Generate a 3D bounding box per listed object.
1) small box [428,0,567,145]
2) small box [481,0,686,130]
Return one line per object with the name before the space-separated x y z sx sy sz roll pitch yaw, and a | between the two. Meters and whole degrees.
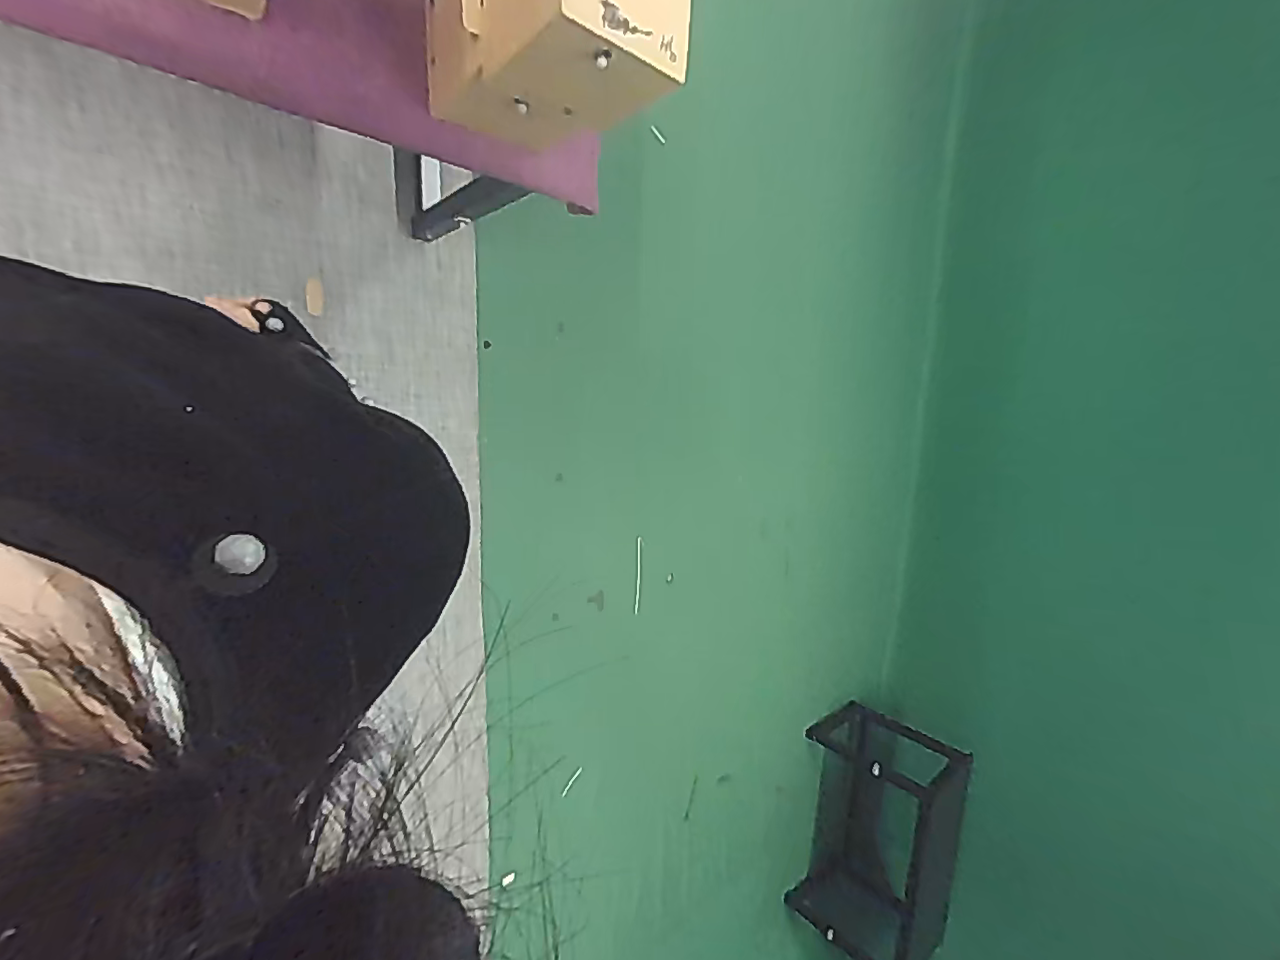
small box | -0.170 -0.576 0.717 0.179 0.176 0.168 -8 104 -41
small box | -0.065 -0.533 0.598 0.168 0.176 0.179 -4 101 -41
